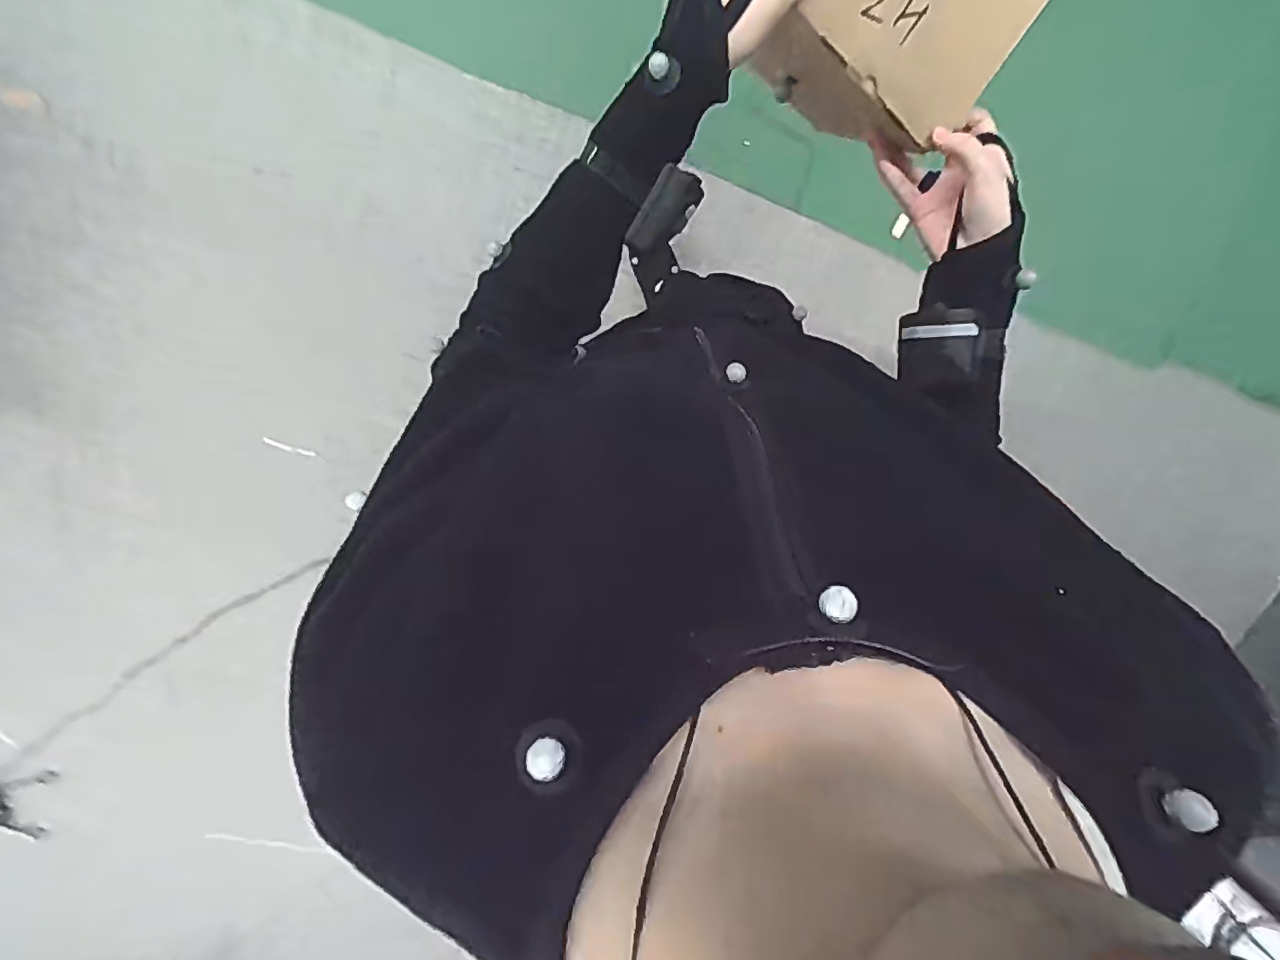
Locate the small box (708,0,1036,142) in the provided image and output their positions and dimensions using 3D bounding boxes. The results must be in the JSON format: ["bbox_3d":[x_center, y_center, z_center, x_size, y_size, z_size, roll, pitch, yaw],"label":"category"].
[{"bbox_3d":[0.178,-0.393,0.394,0.168,0.176,0.179,19,119,-32],"label":"small box"}]
